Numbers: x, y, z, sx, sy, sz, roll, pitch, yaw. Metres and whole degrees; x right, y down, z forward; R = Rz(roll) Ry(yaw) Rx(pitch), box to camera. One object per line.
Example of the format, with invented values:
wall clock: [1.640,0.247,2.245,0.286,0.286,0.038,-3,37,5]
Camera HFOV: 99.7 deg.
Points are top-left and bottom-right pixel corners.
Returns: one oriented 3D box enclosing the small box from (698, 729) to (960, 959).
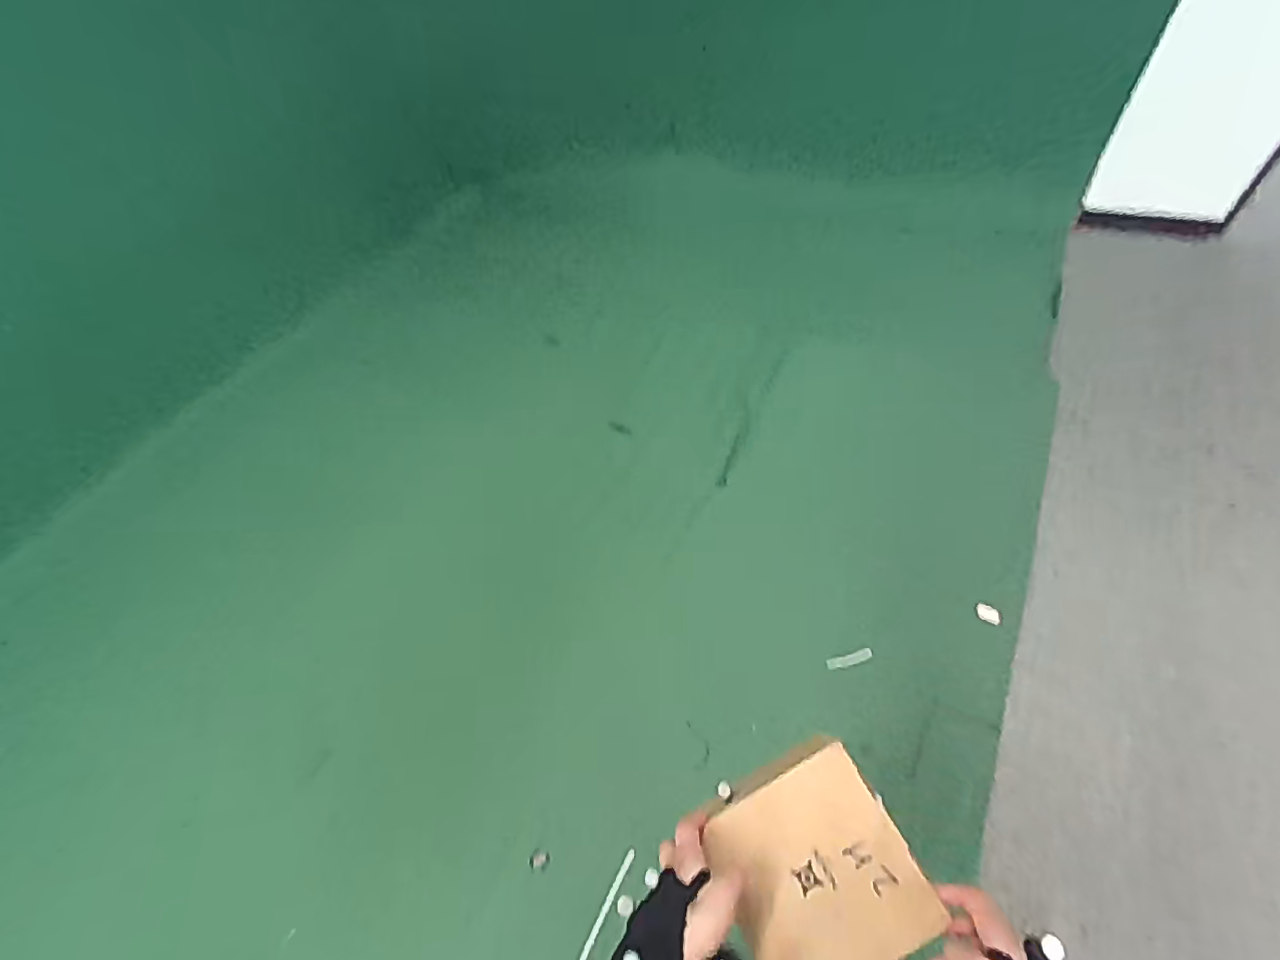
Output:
small box: [0.181,0.384,0.568,0.179,0.176,0.168,-30,67,-3]
